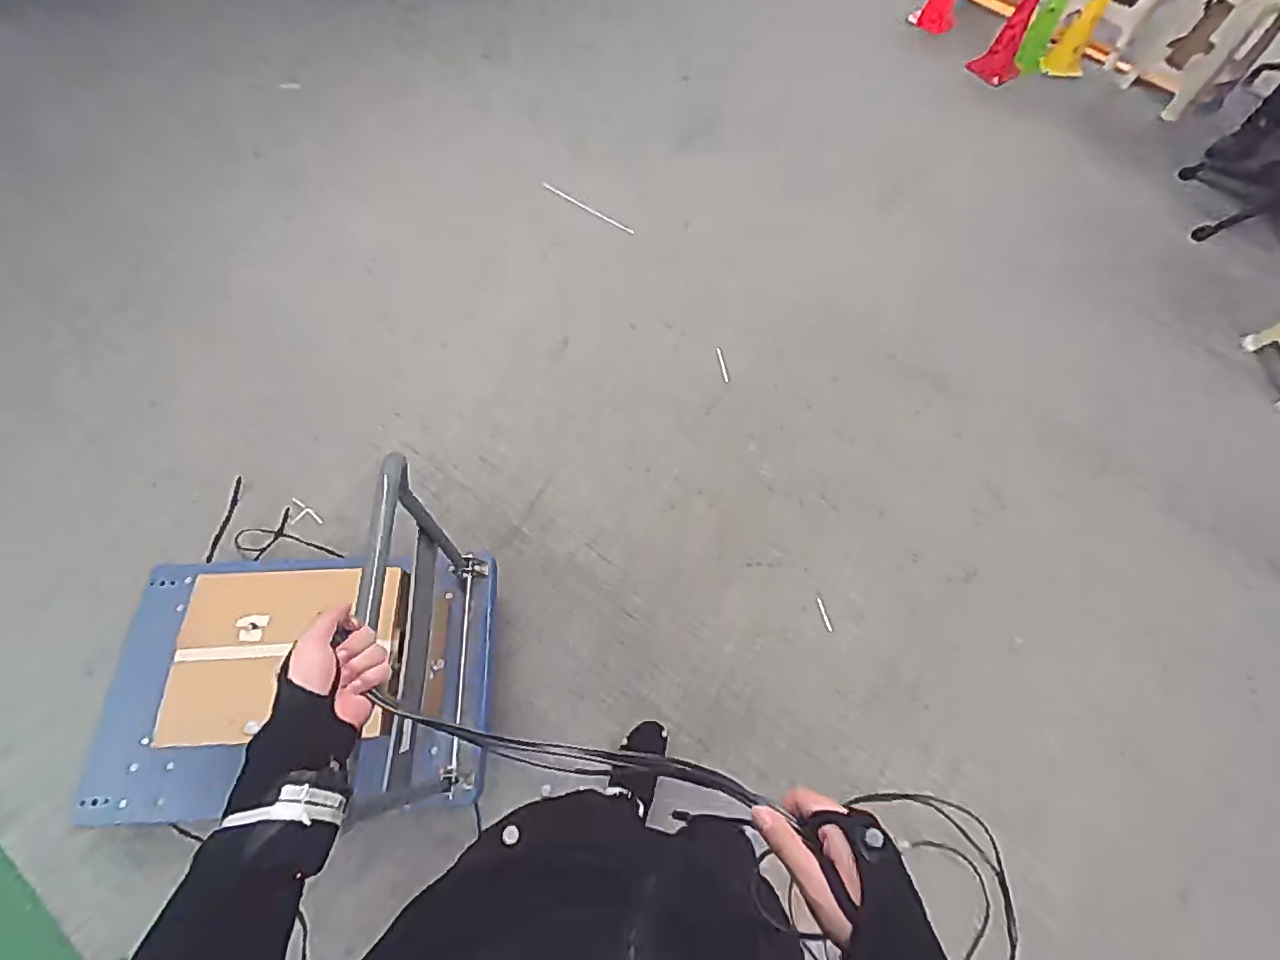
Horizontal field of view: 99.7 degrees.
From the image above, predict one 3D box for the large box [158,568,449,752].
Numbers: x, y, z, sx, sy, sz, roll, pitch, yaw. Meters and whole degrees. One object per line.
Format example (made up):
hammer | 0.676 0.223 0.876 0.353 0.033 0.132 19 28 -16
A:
large box | -0.661 0.386 1.151 0.408 0.320 0.320 -3 65 -1
